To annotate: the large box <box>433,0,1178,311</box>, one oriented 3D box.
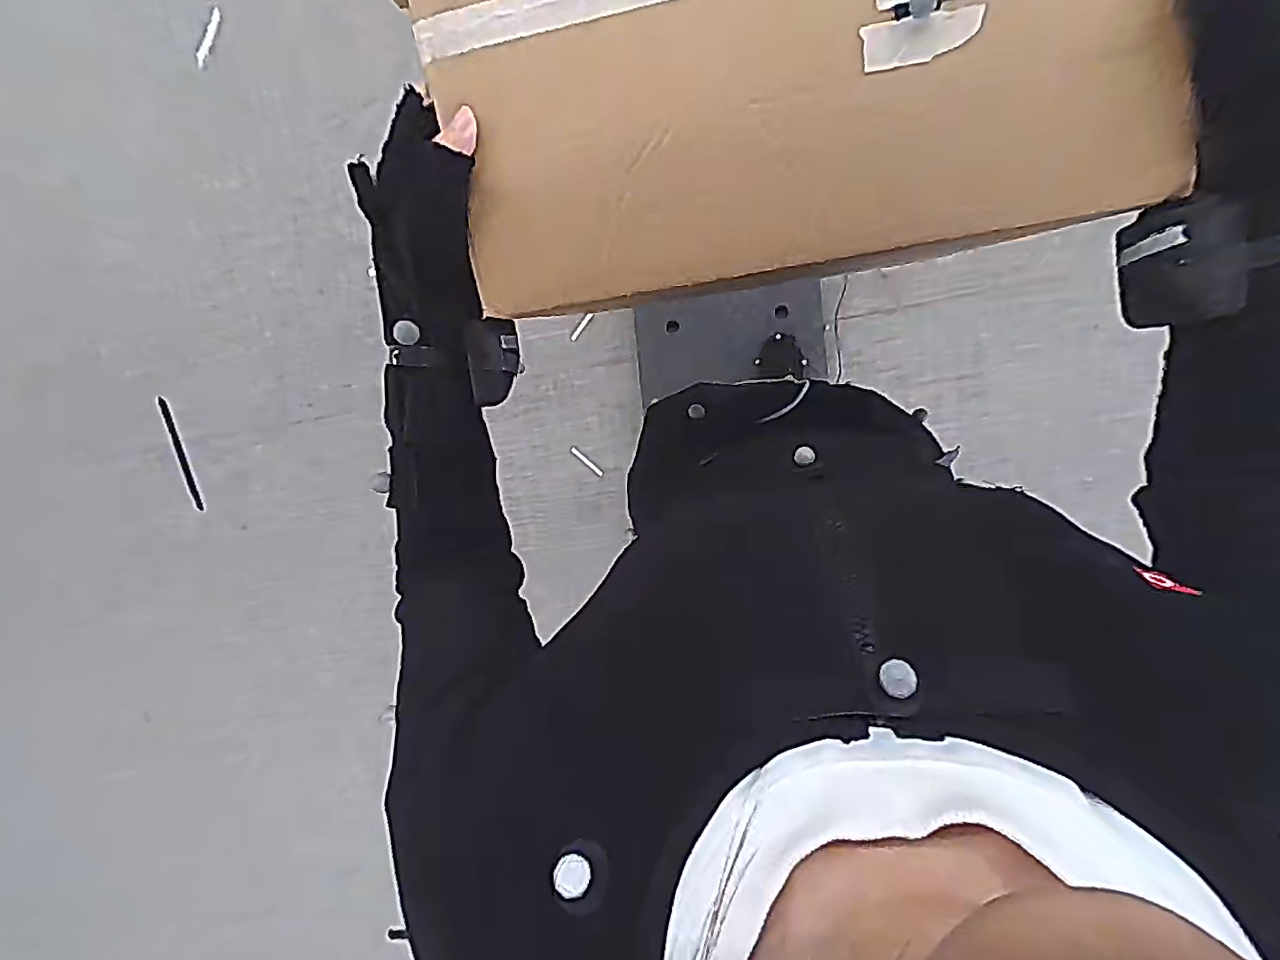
[{"bbox_3d":[0.090,-0.330,0.437,0.408,0.320,0.320,-7,107,9],"label":"large box"}]
